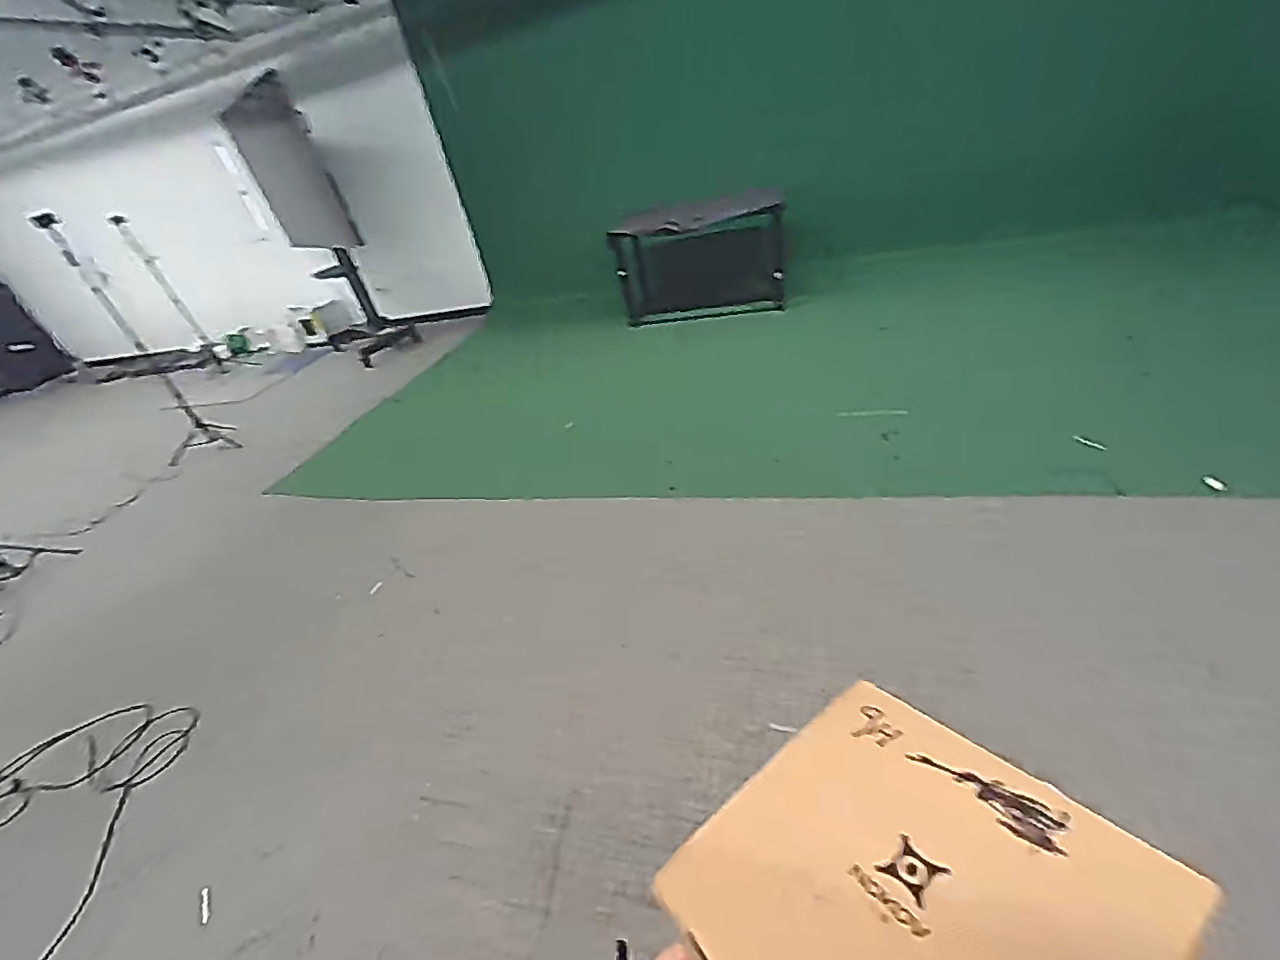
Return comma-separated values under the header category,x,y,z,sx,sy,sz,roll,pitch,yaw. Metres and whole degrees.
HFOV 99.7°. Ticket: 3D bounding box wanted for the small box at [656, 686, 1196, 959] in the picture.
category,x,y,z,sx,sy,sz,roll,pitch,yaw
small box,0.141,0.258,0.283,0.179,0.176,0.168,-30,26,-23
